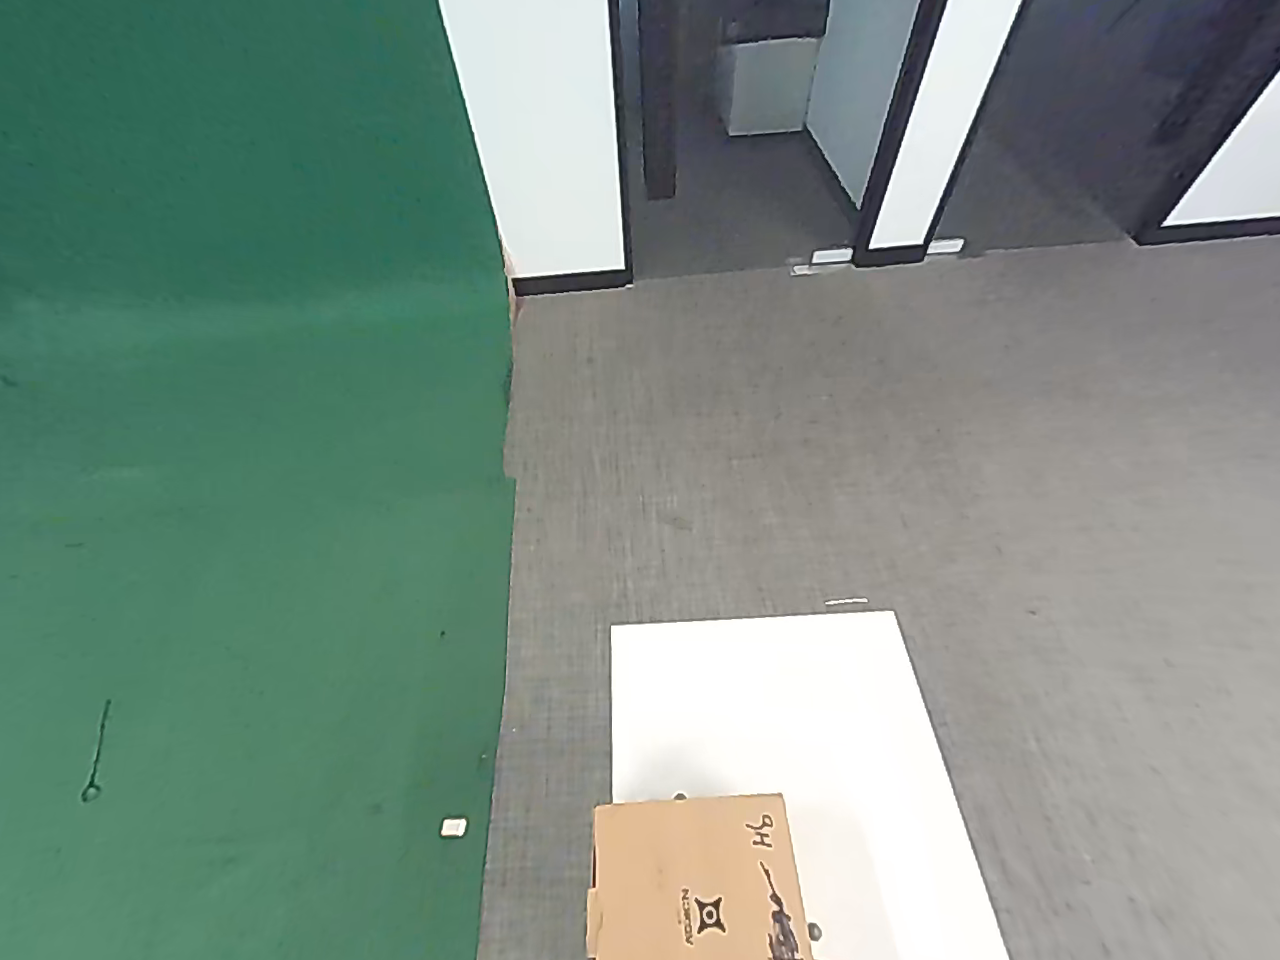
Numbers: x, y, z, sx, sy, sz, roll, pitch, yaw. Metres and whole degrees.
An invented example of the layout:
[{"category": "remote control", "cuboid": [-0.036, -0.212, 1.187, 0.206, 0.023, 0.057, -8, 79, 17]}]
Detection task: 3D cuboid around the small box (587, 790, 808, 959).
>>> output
[{"category": "small box", "cuboid": [0.046, 0.400, 0.508, 0.179, 0.176, 0.168, -2, 53, -1]}]
